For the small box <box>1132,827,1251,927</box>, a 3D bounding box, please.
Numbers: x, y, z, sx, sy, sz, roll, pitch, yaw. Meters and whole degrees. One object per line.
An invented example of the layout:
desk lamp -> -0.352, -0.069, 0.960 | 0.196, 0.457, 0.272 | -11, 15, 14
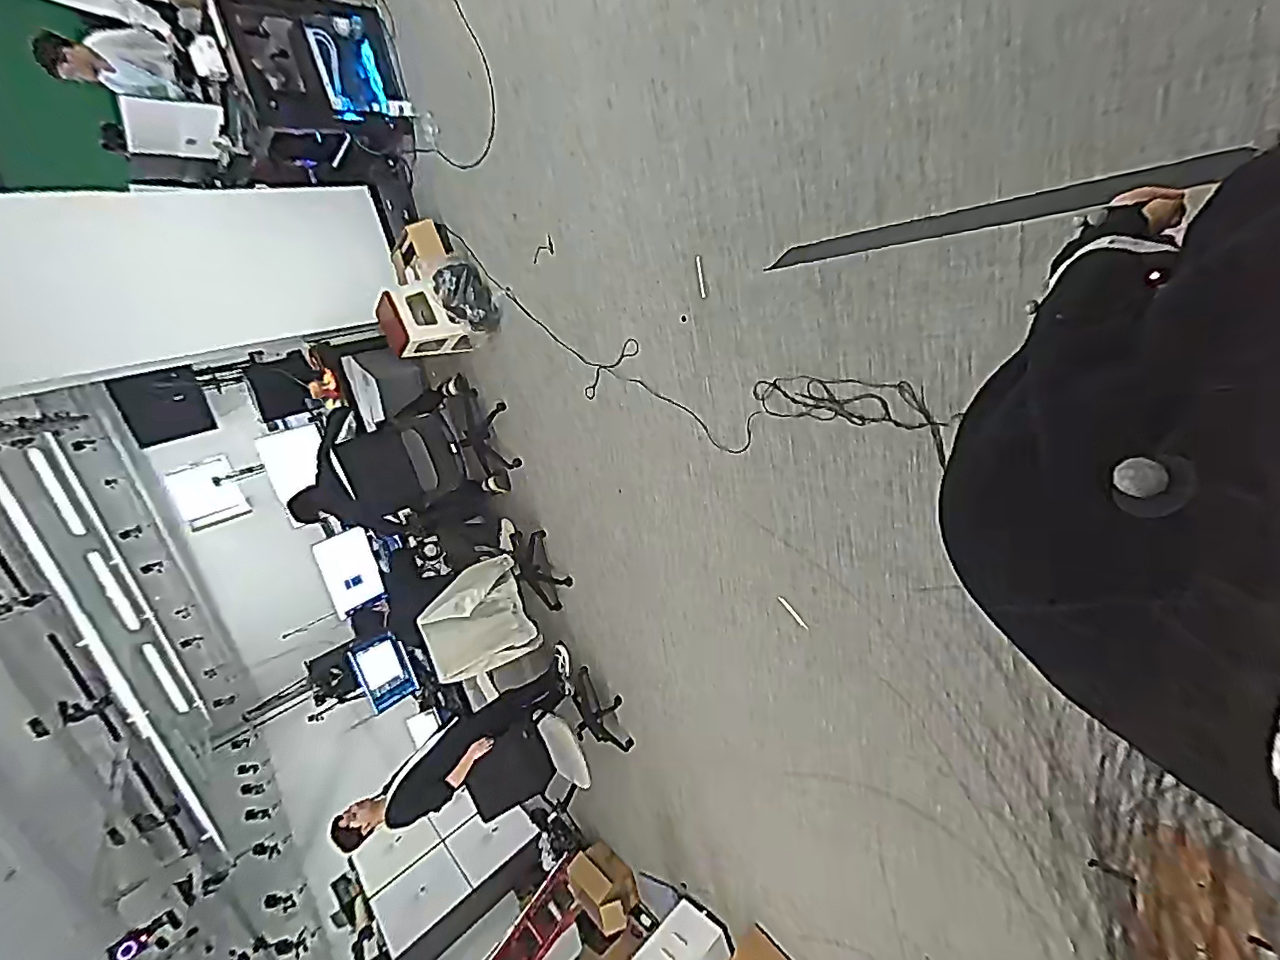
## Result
small box -> 1.386, 1.021, 1.361 | 0.179, 0.176, 0.168 | 18, 124, 44

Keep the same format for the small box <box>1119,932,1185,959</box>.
small box -> 1.155, 1.153, 1.172 | 0.179, 0.176, 0.168 | 18, 124, 44

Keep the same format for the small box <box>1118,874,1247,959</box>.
small box -> 1.270, 1.088, 1.266 | 0.179, 0.176, 0.168 | 21, 126, 42
